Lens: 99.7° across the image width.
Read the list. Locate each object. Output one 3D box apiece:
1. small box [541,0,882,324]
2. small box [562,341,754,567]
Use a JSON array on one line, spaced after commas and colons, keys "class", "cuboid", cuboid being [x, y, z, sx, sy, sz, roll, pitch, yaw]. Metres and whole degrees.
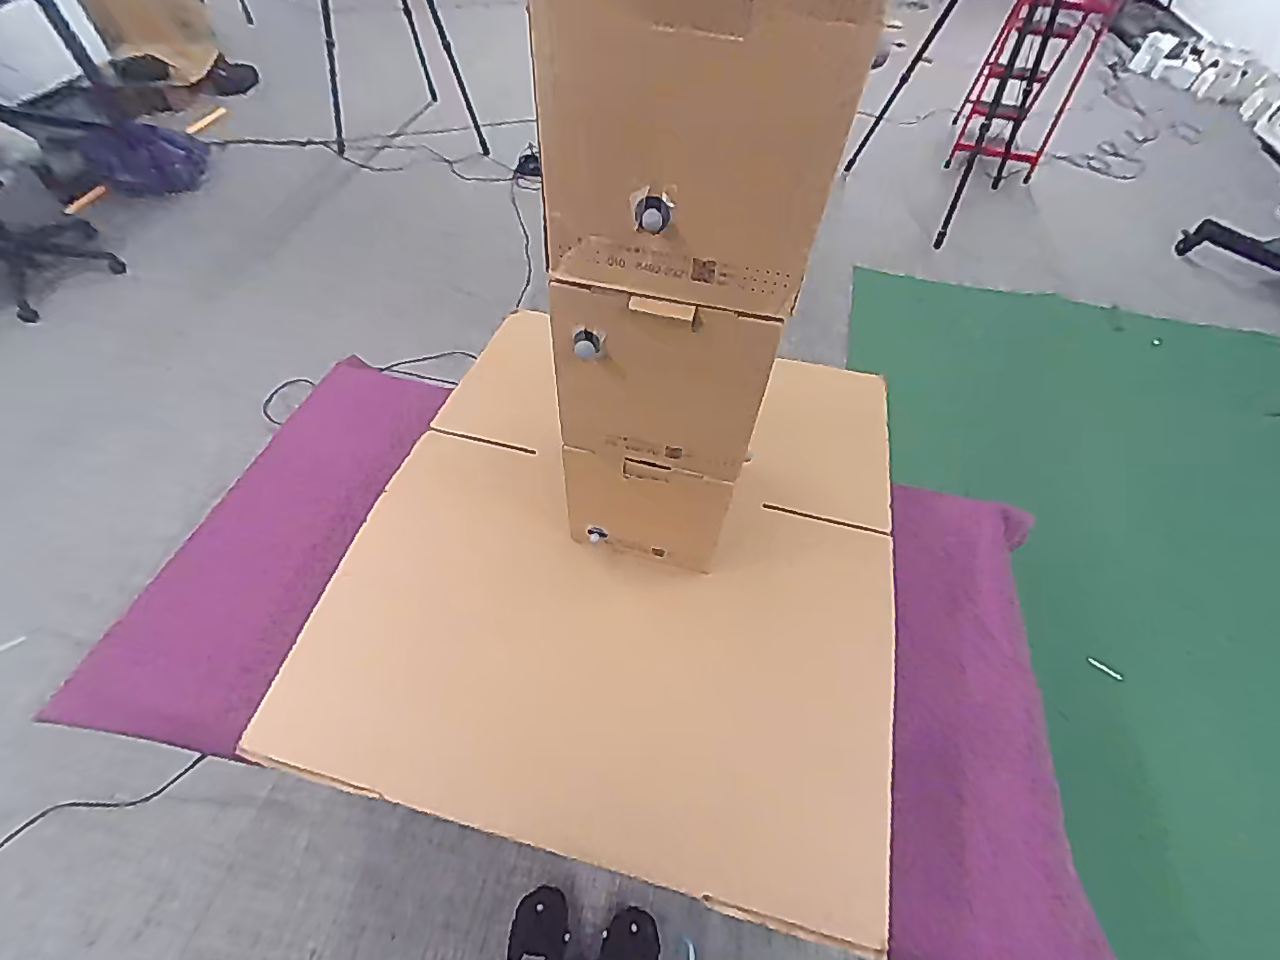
[{"class": "small box", "cuboid": [0.041, -0.234, 0.360, 0.168, 0.176, 0.179, 12, 51, 5]}, {"class": "small box", "cuboid": [0.022, -0.025, 0.612, 0.168, 0.176, 0.179, 13, 52, 6]}]
